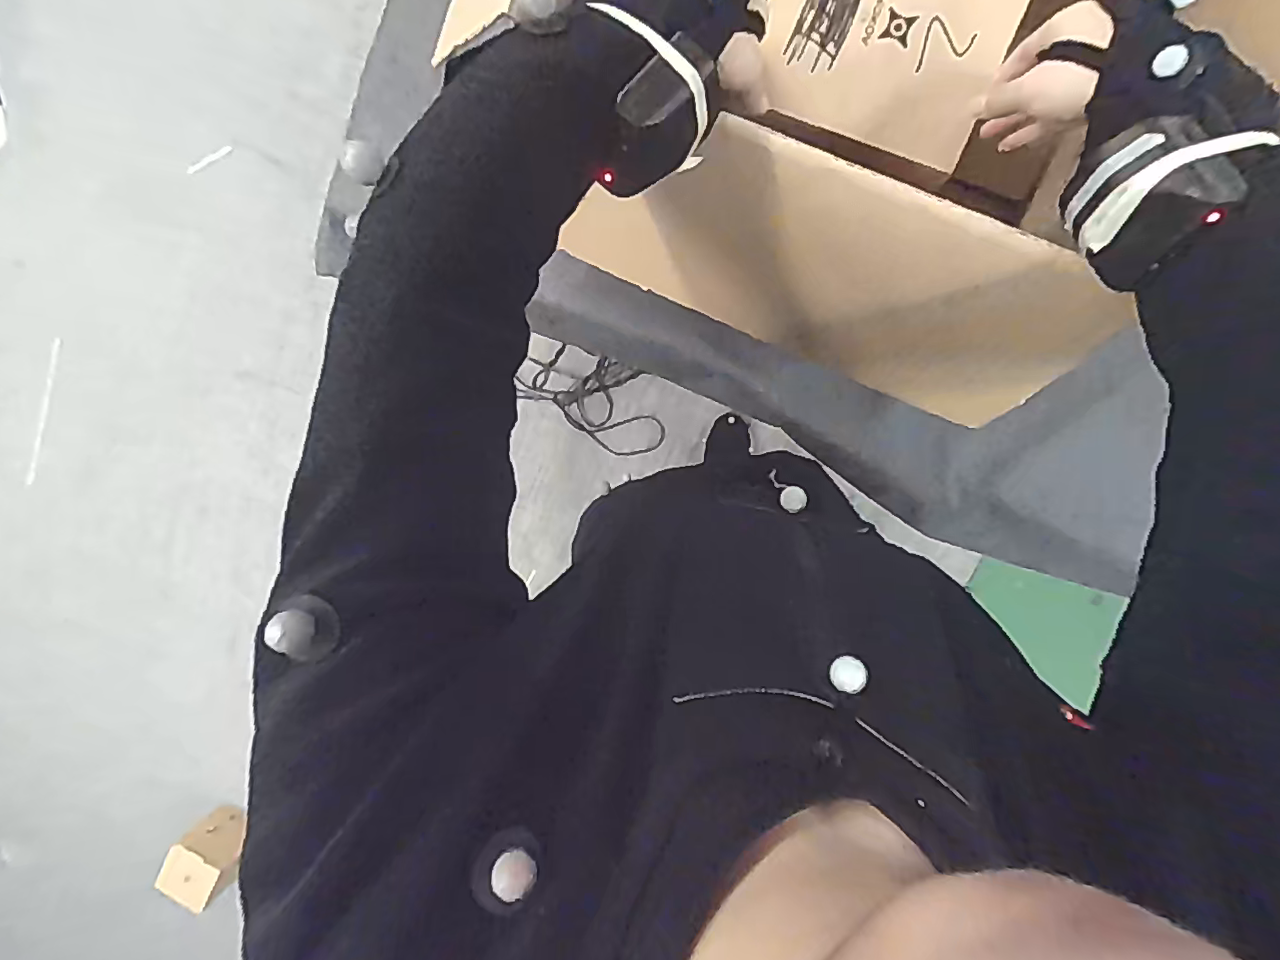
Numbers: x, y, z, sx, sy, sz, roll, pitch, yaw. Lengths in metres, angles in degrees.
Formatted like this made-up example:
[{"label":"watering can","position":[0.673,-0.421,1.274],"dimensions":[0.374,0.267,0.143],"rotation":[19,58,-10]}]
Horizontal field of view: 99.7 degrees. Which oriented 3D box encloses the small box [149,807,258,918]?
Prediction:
[{"label":"small box","position":[-1.291,1.130,1.613],"dimensions":[0.168,0.176,0.179],"rotation":[29,101,4]}]
